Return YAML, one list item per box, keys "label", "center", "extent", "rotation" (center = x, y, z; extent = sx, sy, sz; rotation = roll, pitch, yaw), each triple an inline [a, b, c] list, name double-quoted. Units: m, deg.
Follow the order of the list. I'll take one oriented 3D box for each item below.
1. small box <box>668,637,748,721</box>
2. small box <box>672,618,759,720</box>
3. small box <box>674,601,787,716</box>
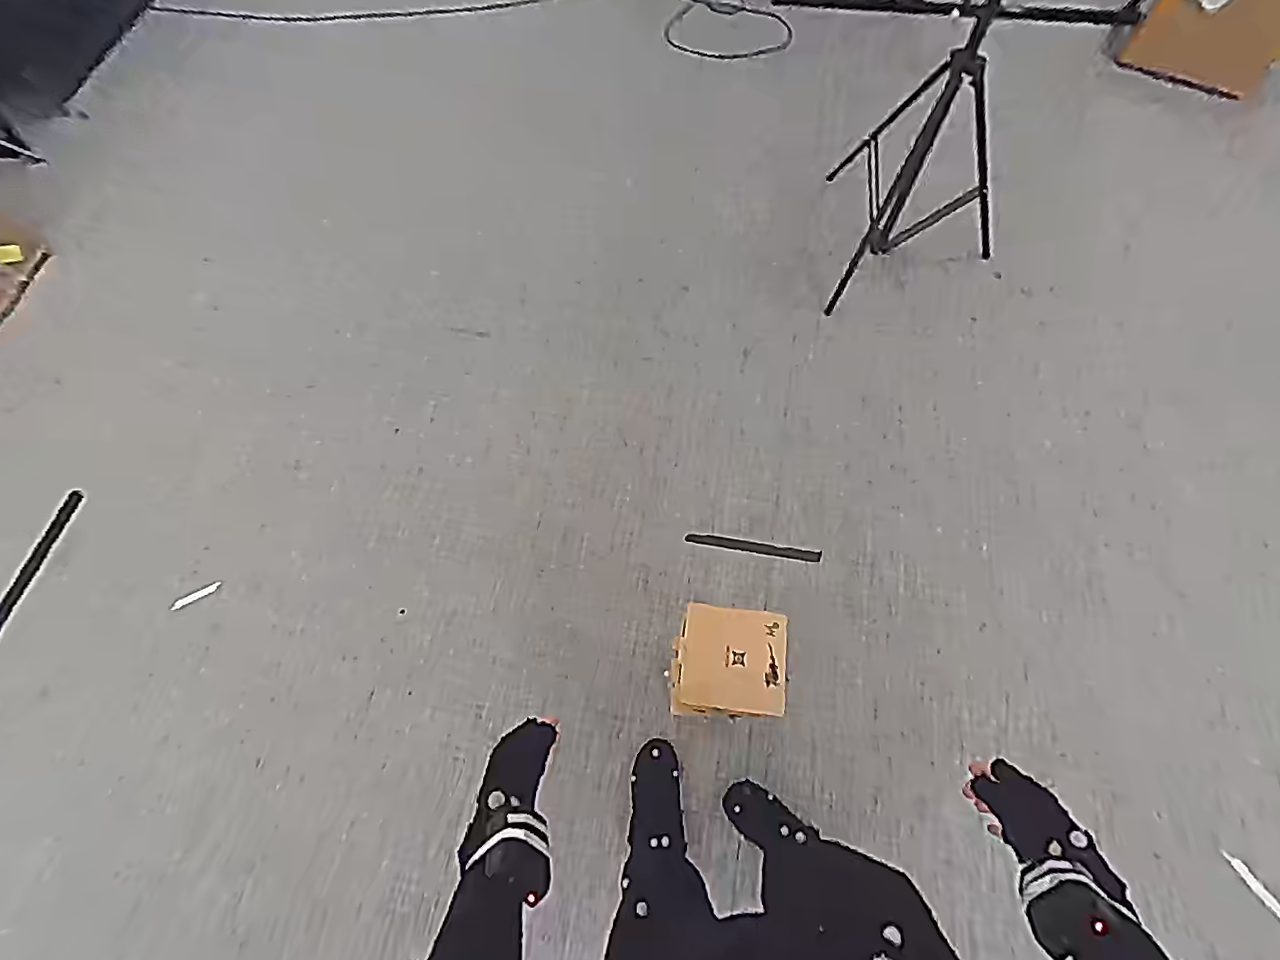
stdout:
- label: "small box"
  center: [0.158, 0.465, 1.264]
  extent: [0.179, 0.176, 0.168]
  rotation: [2, 67, 5]
- label: "small box"
  center: [0.156, 0.392, 1.119]
  extent: [0.168, 0.176, 0.179]
  rotation: [6, 67, 4]
- label: "small box"
  center: [0.156, 0.324, 0.970]
  extent: [0.179, 0.176, 0.168]
  rotation: [7, 68, 5]
